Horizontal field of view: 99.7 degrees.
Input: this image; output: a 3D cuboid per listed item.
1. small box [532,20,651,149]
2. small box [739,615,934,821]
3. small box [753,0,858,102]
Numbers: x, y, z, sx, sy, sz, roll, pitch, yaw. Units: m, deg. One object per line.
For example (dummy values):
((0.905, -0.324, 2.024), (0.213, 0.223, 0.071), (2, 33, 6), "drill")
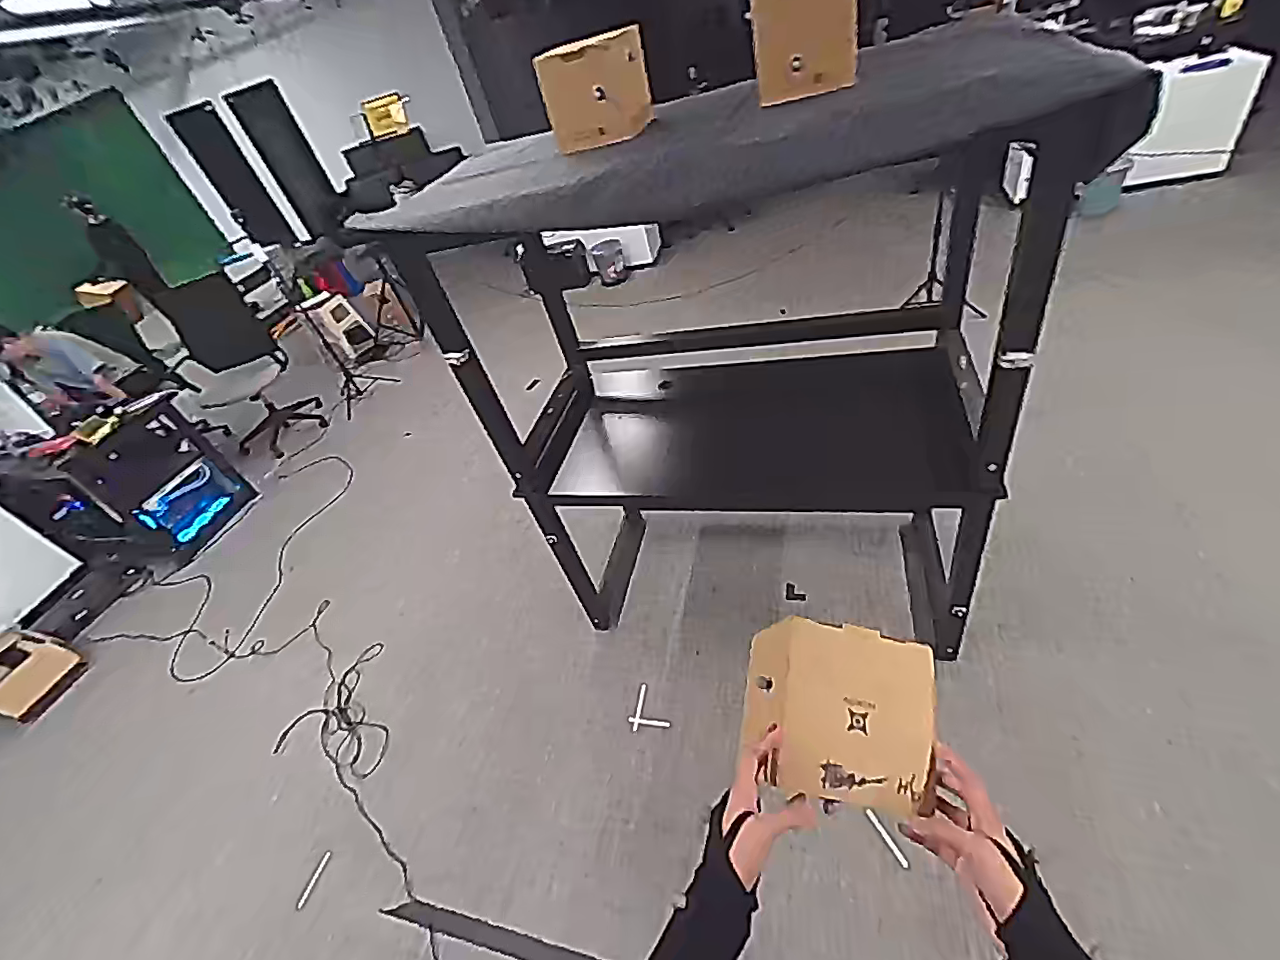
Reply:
((-0.087, -0.792, 1.095), (0.168, 0.176, 0.179), (2, 45, 21), "small box")
((0.224, 0.278, 0.647), (0.168, 0.176, 0.179), (12, 67, 0), "small box")
((0.298, -0.801, 0.964), (0.168, 0.176, 0.179), (-1, 45, 20), "small box")
